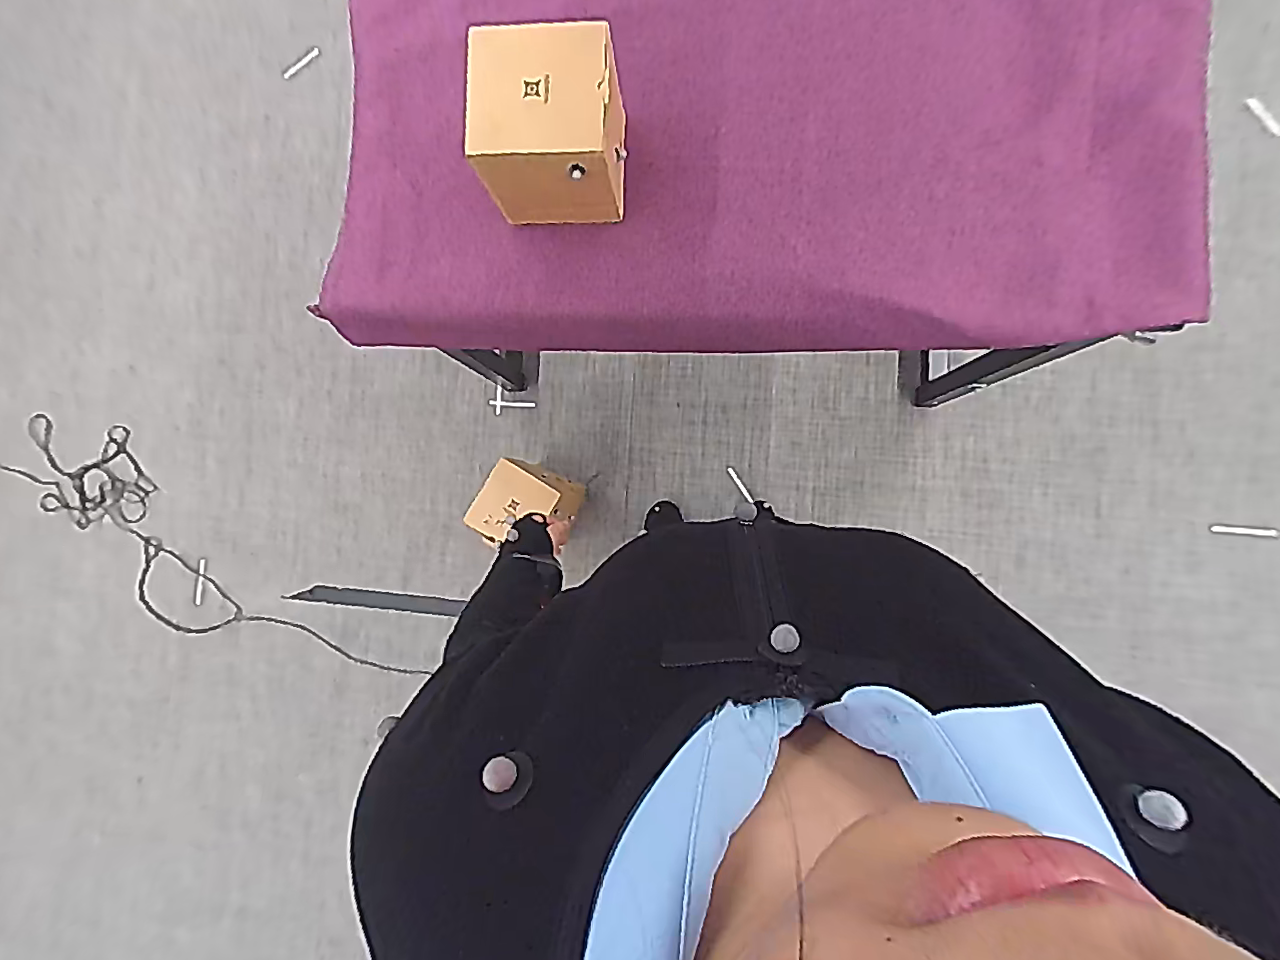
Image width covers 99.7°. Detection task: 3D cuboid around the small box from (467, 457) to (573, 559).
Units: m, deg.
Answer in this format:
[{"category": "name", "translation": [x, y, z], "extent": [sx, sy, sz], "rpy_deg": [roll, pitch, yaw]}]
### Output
[{"category": "small box", "translation": [-0.275, 0.064, 1.296], "extent": [0.168, 0.176, 0.179], "rpy_deg": [32, 92, 5]}]

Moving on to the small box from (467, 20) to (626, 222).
[{"category": "small box", "translation": [-0.117, -0.472, 0.737], "extent": [0.179, 0.176, 0.168], "rpy_deg": [1, 87, 4]}]
